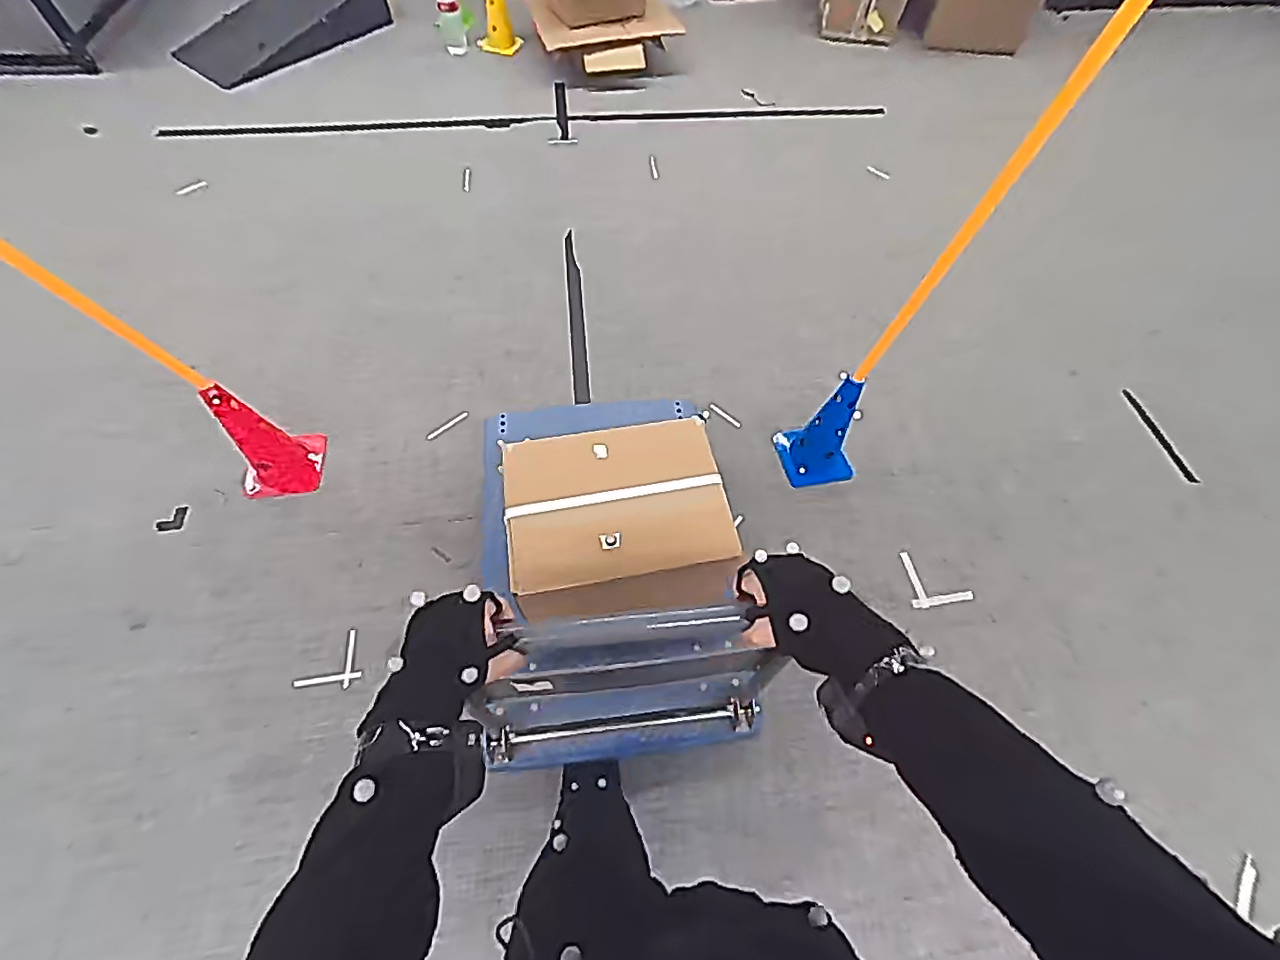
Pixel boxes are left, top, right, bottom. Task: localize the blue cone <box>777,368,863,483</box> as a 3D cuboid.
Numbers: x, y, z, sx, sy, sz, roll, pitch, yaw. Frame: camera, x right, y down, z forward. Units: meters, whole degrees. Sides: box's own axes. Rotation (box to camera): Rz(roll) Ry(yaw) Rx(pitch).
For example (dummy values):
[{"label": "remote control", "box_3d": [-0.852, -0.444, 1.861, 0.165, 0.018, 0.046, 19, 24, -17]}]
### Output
[{"label": "blue cone", "box_3d": [0.534, -0.162, 1.502, 0.193, 0.380, 0.192, -8, 60, -8]}]
